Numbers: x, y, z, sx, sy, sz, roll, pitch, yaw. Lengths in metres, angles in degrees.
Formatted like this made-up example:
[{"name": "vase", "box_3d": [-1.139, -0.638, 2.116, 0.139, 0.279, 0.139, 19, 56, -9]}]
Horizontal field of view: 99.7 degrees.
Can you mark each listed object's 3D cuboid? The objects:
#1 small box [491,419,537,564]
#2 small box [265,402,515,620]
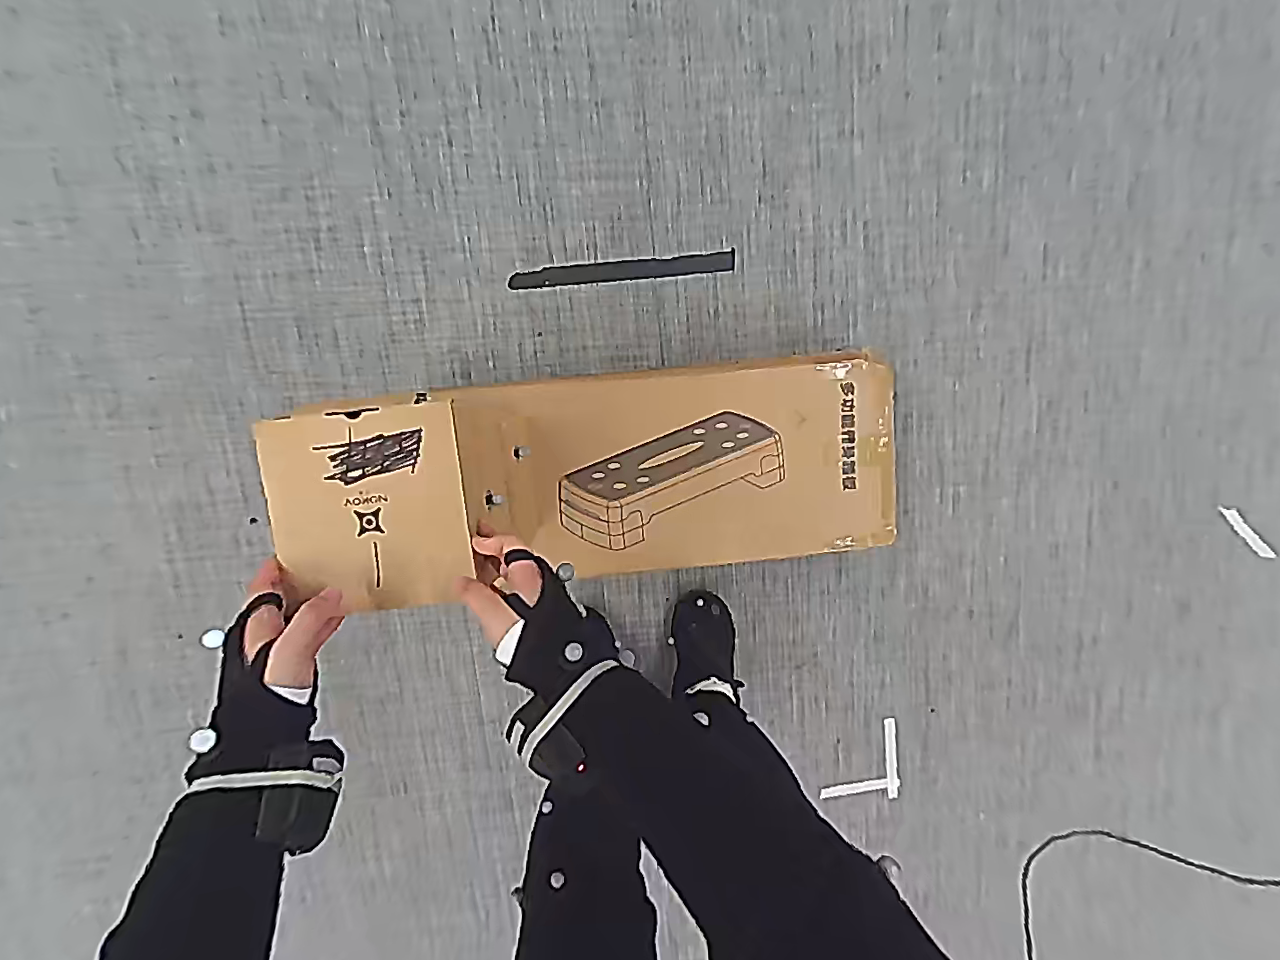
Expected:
[{"name": "small box", "box_3d": [-0.234, 0.011, 0.715, 0.168, 0.176, 0.179, -6, 99, -3]}, {"name": "small box", "box_3d": [-0.230, 0.022, 0.544, 0.168, 0.176, 0.179, -7, 95, -2]}]
